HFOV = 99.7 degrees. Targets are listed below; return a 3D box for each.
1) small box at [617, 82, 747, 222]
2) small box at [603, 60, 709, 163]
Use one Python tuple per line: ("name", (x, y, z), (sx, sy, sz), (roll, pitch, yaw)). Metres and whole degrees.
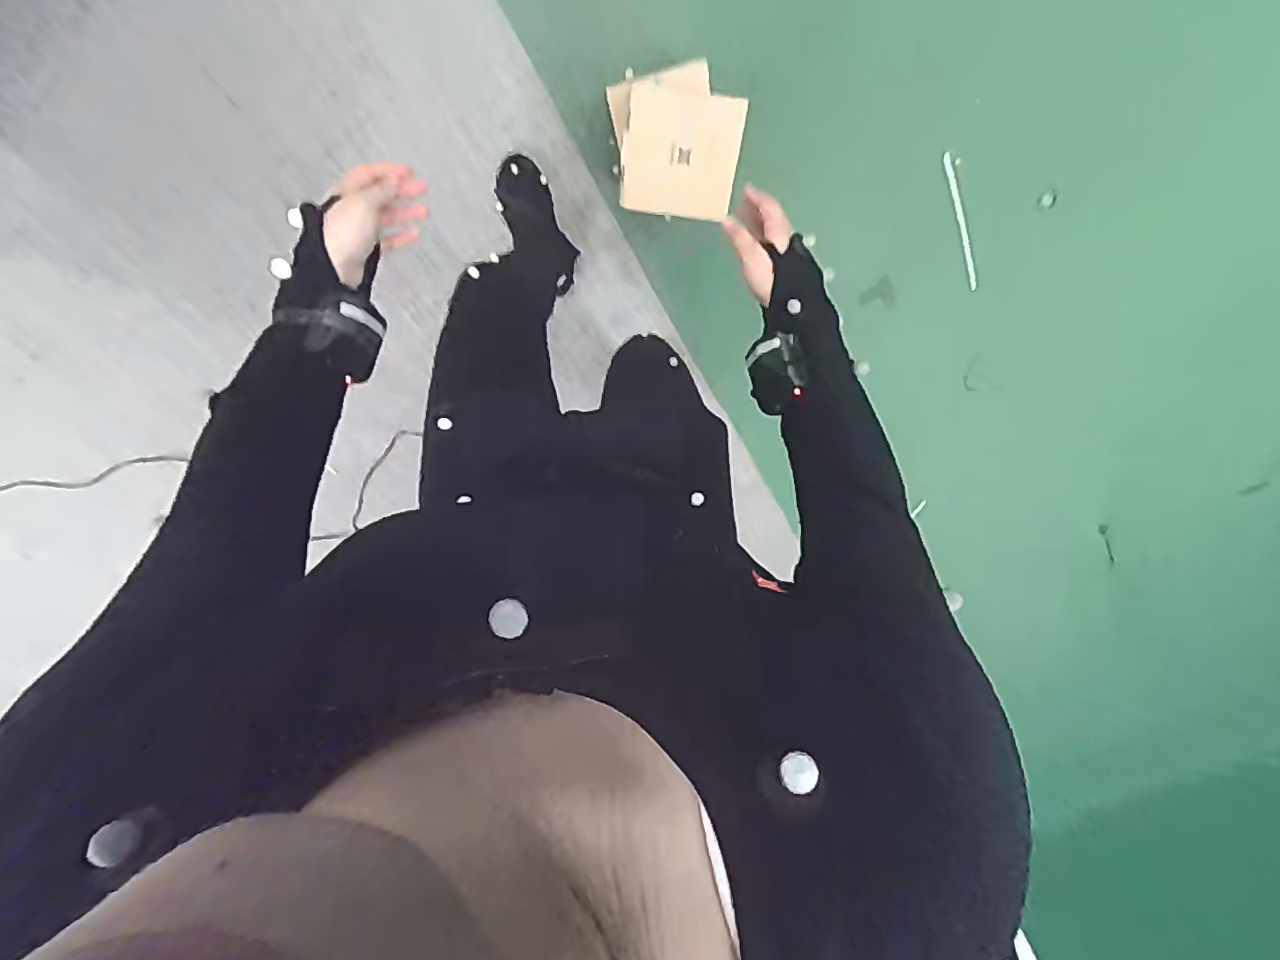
("small box", (0.056, -0.535, 0.884), (0.179, 0.176, 0.168), (4, 125, -7))
("small box", (0.038, -0.650, 1.003), (0.179, 0.176, 0.168), (-13, 124, 5))
